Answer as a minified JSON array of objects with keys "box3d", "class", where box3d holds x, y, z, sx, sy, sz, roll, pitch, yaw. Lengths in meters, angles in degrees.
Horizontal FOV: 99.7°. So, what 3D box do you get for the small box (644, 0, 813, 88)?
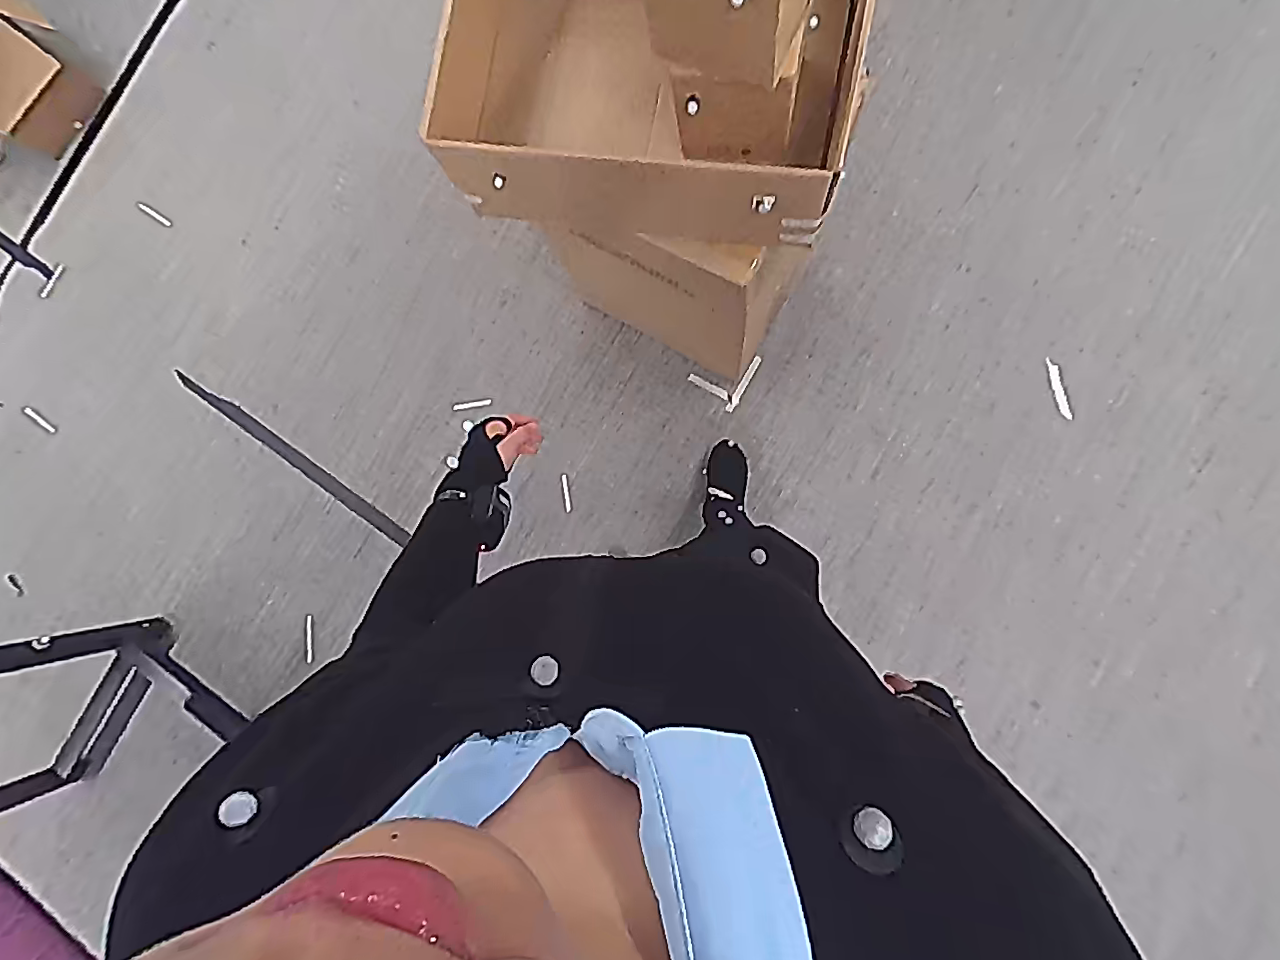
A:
[{"box3d":[0.113,-0.606,0.629,0.179,0.176,0.168,24,90,11],"class":"small box"}]
